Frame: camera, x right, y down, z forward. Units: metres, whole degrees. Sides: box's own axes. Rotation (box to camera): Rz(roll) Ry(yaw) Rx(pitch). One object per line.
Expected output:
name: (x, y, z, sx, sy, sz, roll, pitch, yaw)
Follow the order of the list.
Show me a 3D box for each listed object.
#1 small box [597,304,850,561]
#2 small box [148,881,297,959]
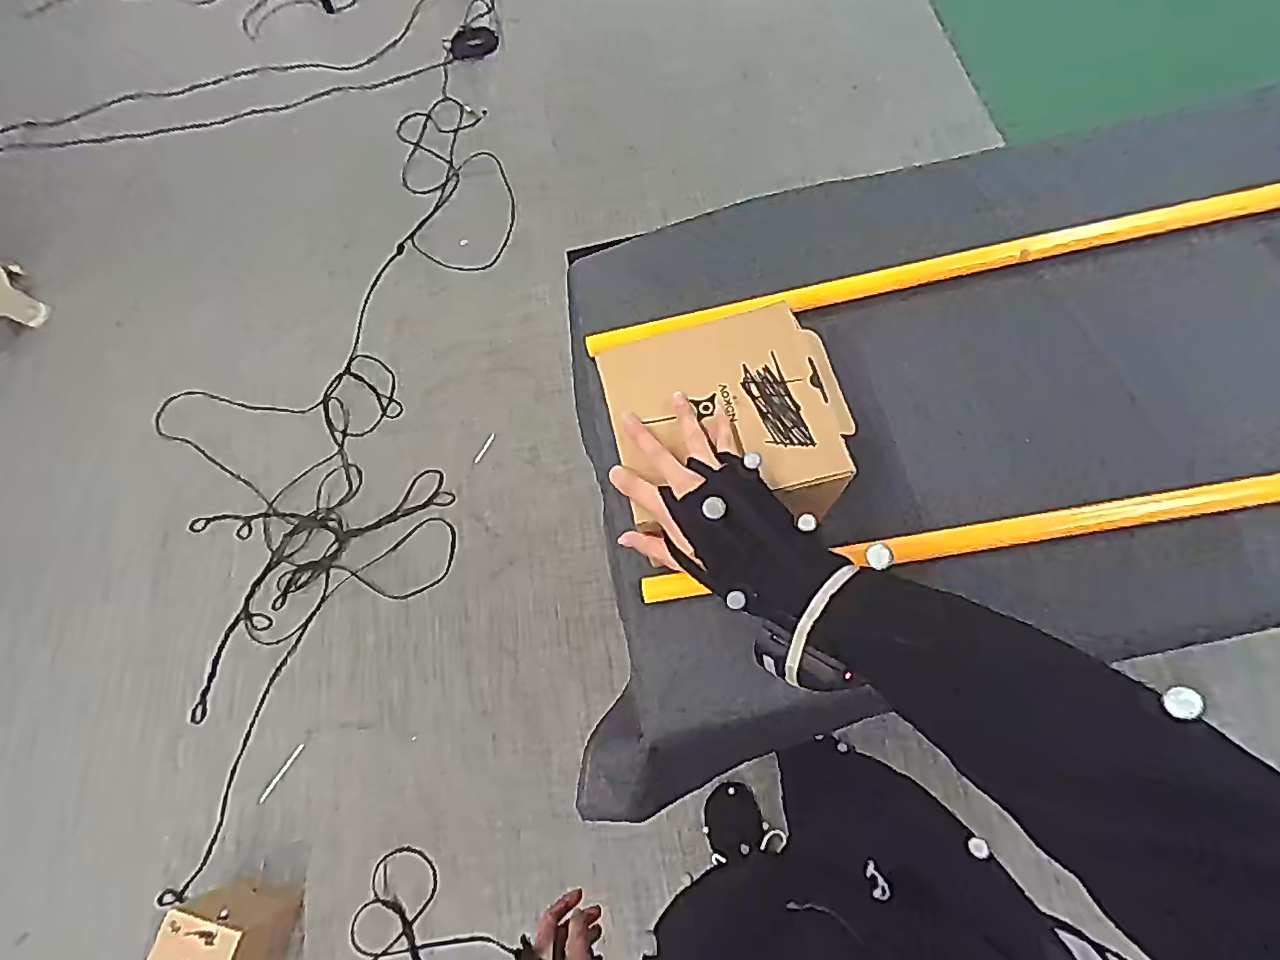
small box: (0.070, -0.032, 0.517, 0.179, 0.176, 0.168, -14, 68, 2)
small box: (-0.817, 0.928, 1.052, 0.168, 0.176, 0.179, 9, 71, 11)
